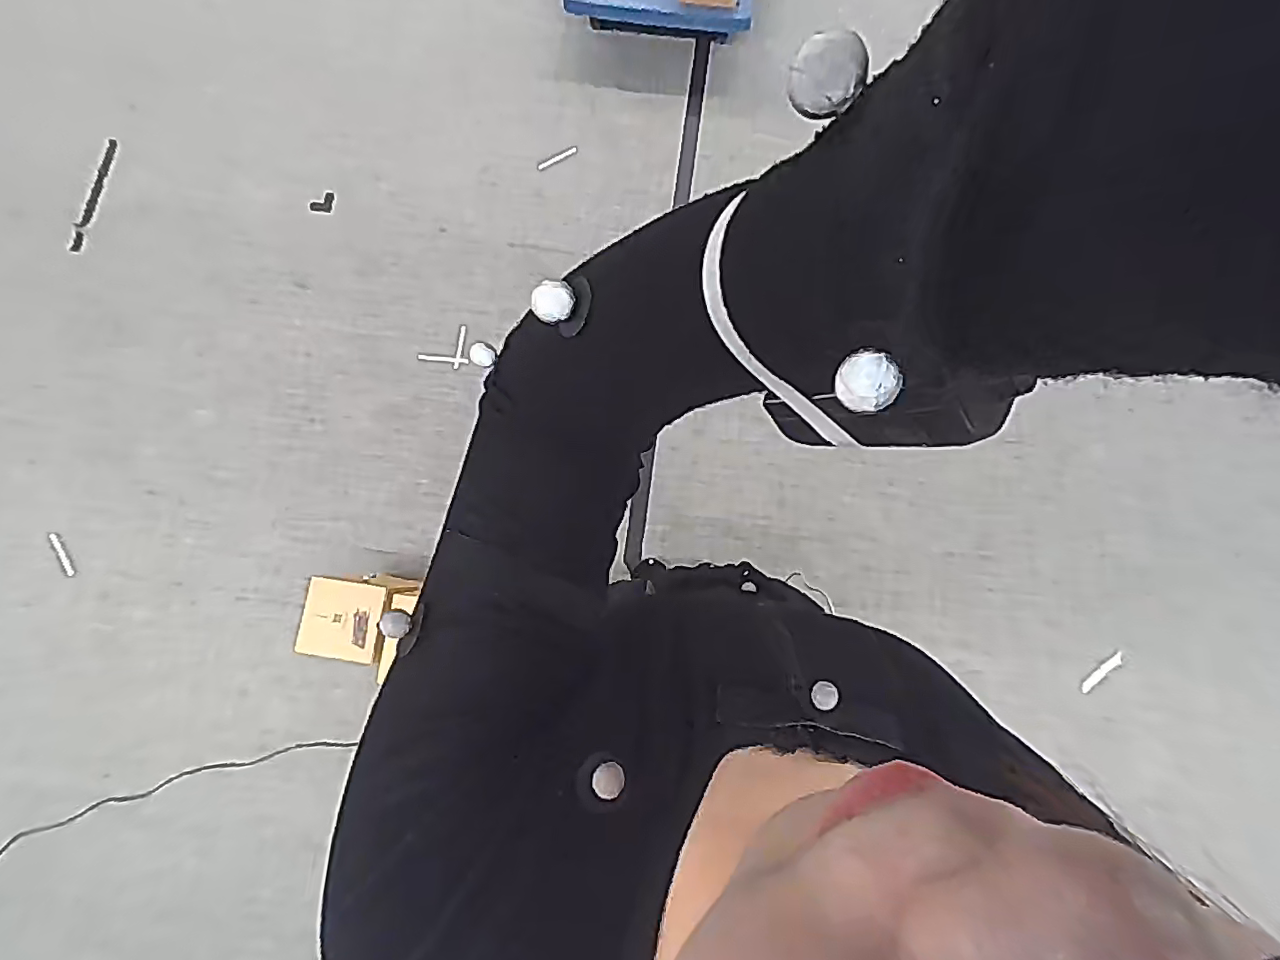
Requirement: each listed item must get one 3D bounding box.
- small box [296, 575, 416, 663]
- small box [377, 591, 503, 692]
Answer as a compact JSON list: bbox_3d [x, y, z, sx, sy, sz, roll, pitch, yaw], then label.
[{"bbox_3d":[-0.648,0.316,1.260,0.179,0.176,0.168,8,80,3],"label":"small box"},{"bbox_3d":[-0.393,0.317,1.092,0.179,0.176,0.168,7,81,0],"label":"small box"}]
